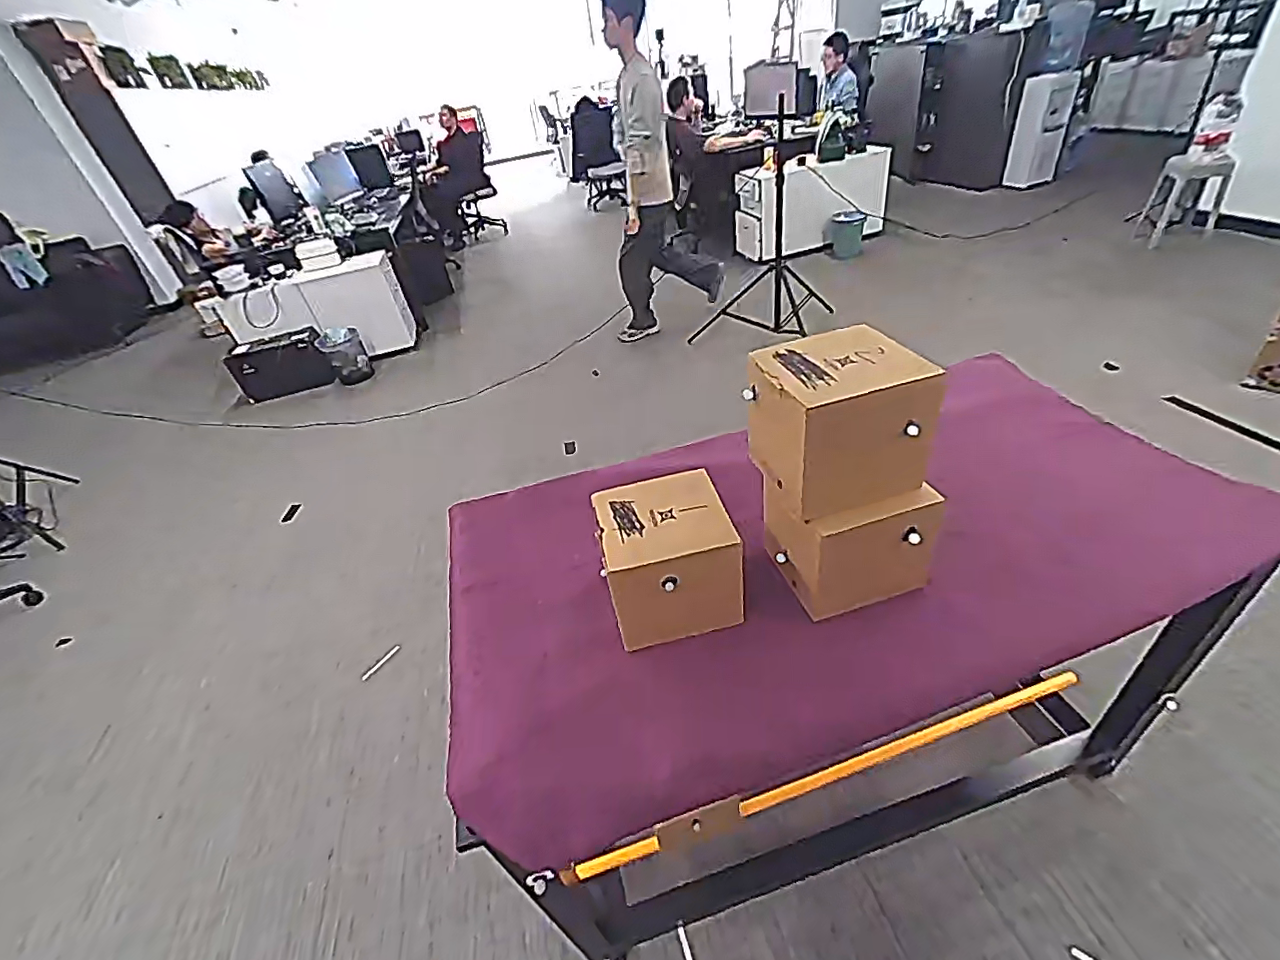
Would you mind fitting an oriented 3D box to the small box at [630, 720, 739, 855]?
[{"bbox_3d":[0.092,0.636,1.119,0.179,0.176,0.168,-16,40,-8],"label":"small box"}]

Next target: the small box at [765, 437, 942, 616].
[{"bbox_3d":[0.293,0.066,0.784,0.179,0.176,0.168,-16,37,-7],"label":"small box"}]

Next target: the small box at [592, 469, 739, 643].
[{"bbox_3d":[0.037,0.112,0.783,0.179,0.176,0.168,-12,37,-5],"label":"small box"}]
